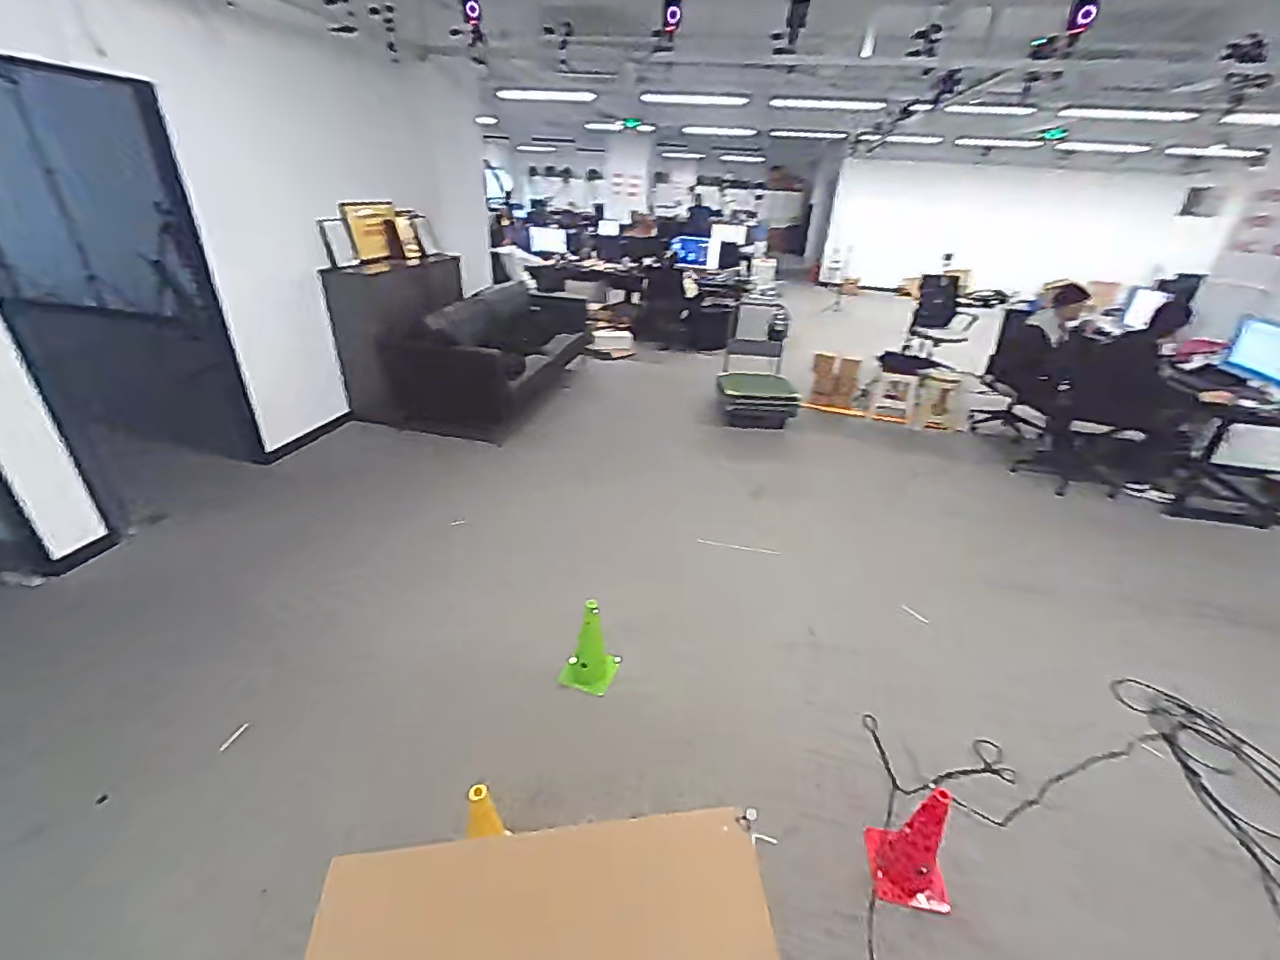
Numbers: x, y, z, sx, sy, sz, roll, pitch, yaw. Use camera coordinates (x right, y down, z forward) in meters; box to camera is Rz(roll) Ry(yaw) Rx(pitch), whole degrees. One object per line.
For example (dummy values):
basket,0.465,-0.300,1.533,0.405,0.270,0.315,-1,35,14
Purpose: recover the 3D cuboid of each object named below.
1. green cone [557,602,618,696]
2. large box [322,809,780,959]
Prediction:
green cone,-0.201,0.615,2.078,0.200,0.368,0.202,11,30,15
large box,-0.078,0.569,0.528,0.408,0.320,0.320,-2,42,-8
